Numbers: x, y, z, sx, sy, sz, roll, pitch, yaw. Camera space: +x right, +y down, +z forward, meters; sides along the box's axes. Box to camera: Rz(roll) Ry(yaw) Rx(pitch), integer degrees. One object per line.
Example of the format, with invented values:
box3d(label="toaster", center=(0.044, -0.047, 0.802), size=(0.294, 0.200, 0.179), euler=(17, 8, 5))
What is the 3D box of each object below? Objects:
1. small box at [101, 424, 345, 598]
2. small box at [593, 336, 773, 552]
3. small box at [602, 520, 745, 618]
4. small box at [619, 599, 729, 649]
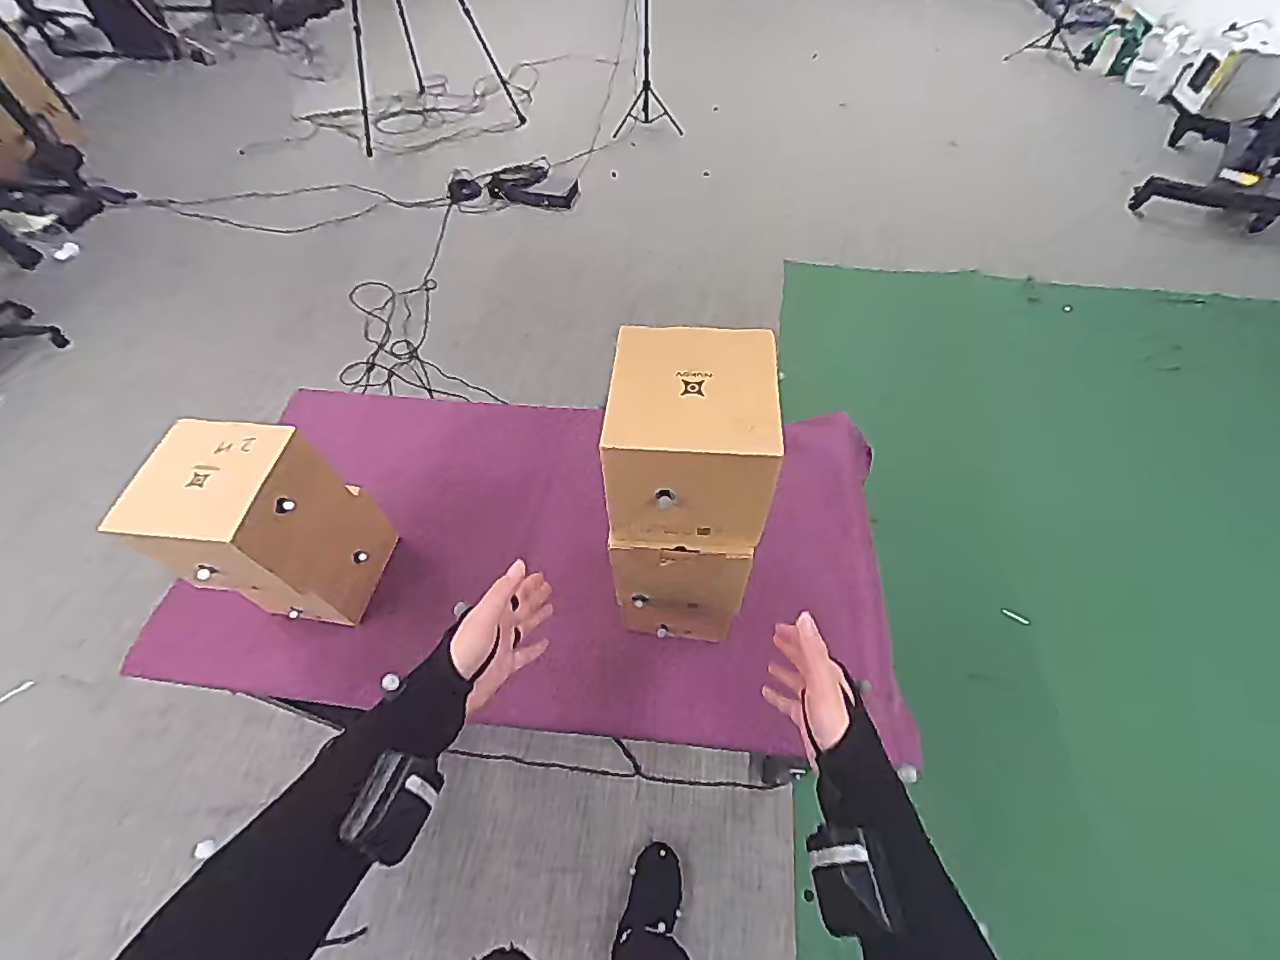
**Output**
box3d(label="small box", center=(-0.543, 0.047, 0.740), size=(0.168, 0.176, 0.179), euler=(5, 56, 4))
box3d(label="small box", center=(0.049, -0.036, 0.594), size=(0.168, 0.176, 0.179), euler=(3, 53, 5))
box3d(label="small box", center=(0.051, 0.068, 0.719), size=(0.168, 0.176, 0.179), euler=(4, 53, 5))
box3d(label="small box", center=(0.058, 0.149, 0.863), size=(0.168, 0.176, 0.179), euler=(6, 54, 7))
